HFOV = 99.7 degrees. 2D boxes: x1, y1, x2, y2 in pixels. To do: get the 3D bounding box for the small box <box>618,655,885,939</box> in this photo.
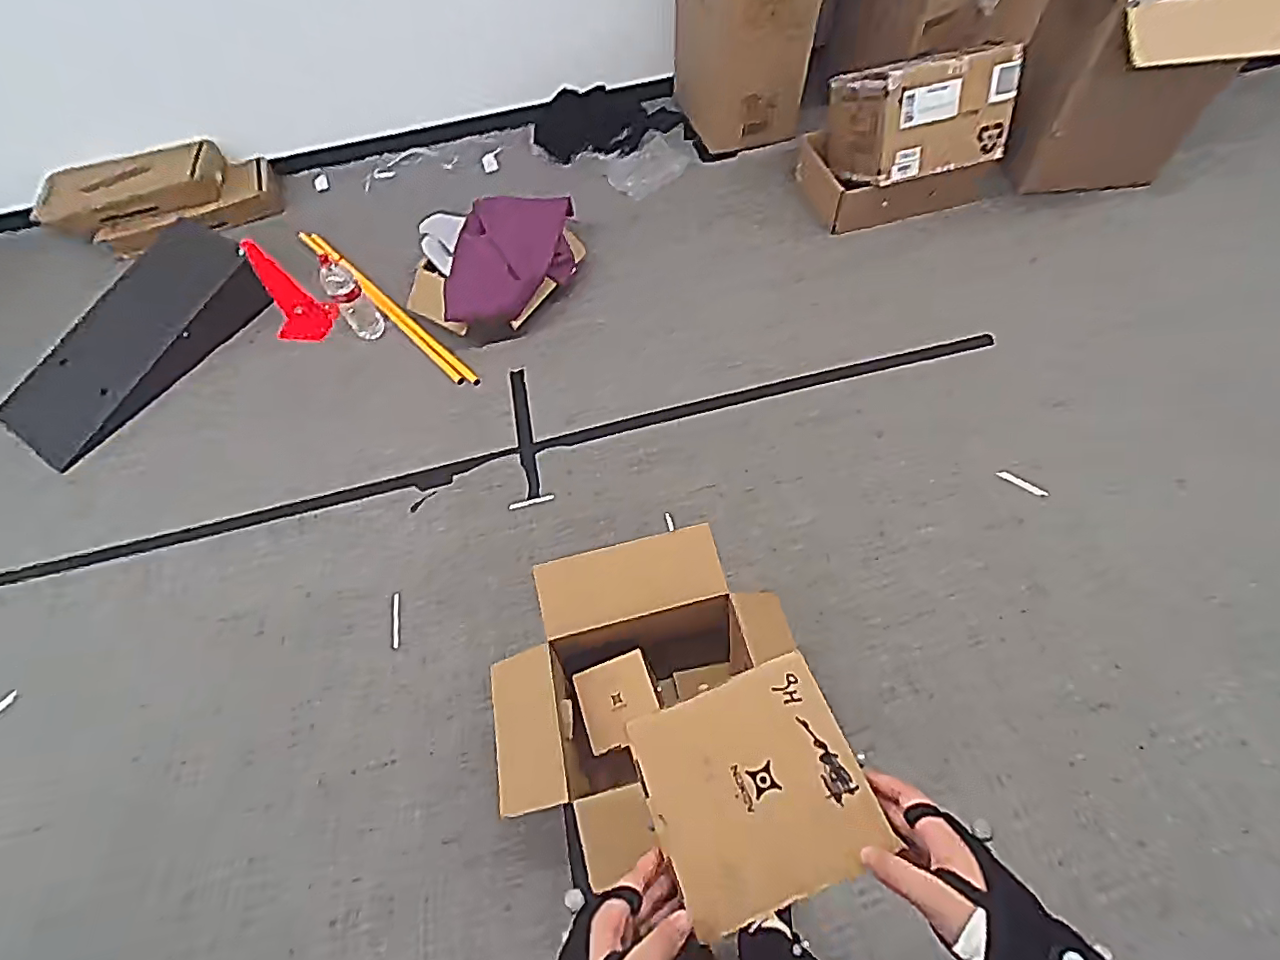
[{"bbox_3d":[0.097,0.295,0.525,0.179,0.176,0.168,-21,62,-5],"label":"small box"}]
